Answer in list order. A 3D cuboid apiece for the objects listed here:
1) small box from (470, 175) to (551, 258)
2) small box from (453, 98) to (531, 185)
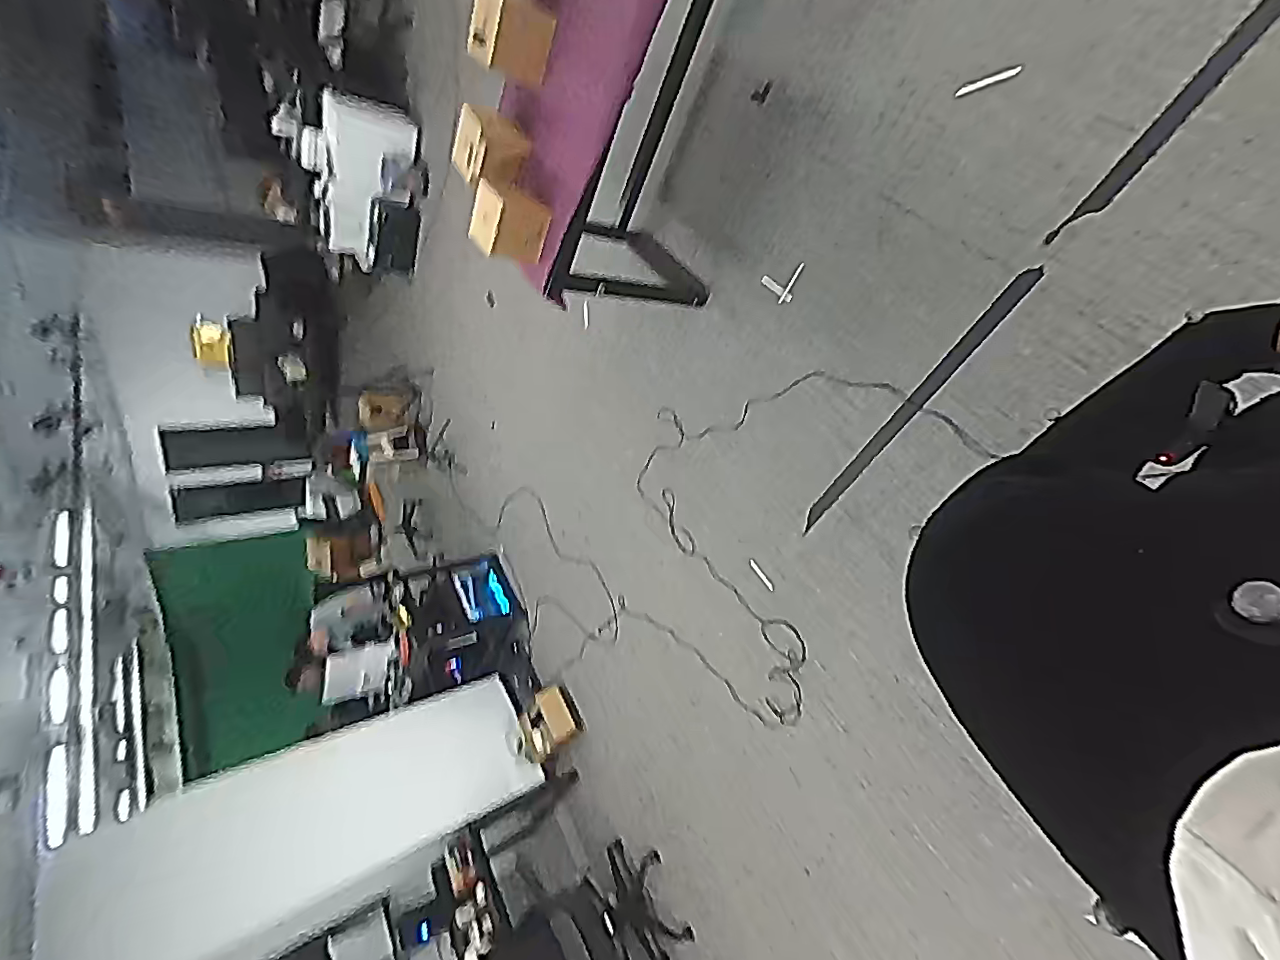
[{"bbox_3d":[-0.402,-0.809,1.677,0.179,0.176,0.168,51,131,31],"label":"small box"},{"bbox_3d":[-0.468,-1.061,1.712,0.179,0.176,0.168,59,136,25],"label":"small box"}]
